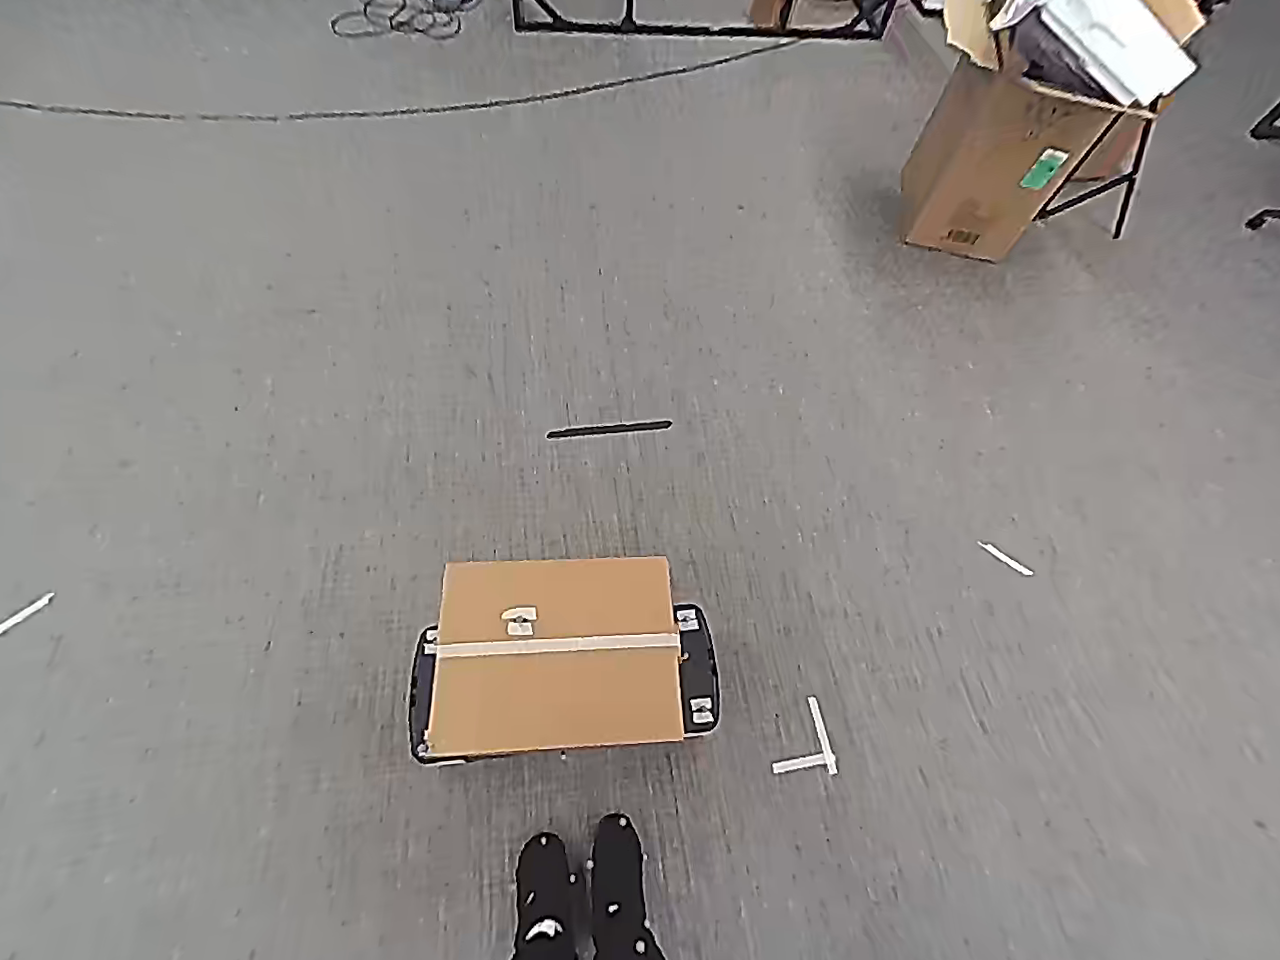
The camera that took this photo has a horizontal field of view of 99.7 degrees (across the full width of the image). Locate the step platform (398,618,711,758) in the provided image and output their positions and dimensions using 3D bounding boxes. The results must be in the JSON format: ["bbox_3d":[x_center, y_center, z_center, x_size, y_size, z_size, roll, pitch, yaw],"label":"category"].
[{"bbox_3d":[-0.179,0.473,1.242,0.684,0.204,0.286,1,62,-4],"label":"step platform"}]

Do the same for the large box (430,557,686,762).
[{"bbox_3d":[-0.142,0.352,1.039,0.408,0.320,0.320,-2,62,-5],"label":"large box"}]
